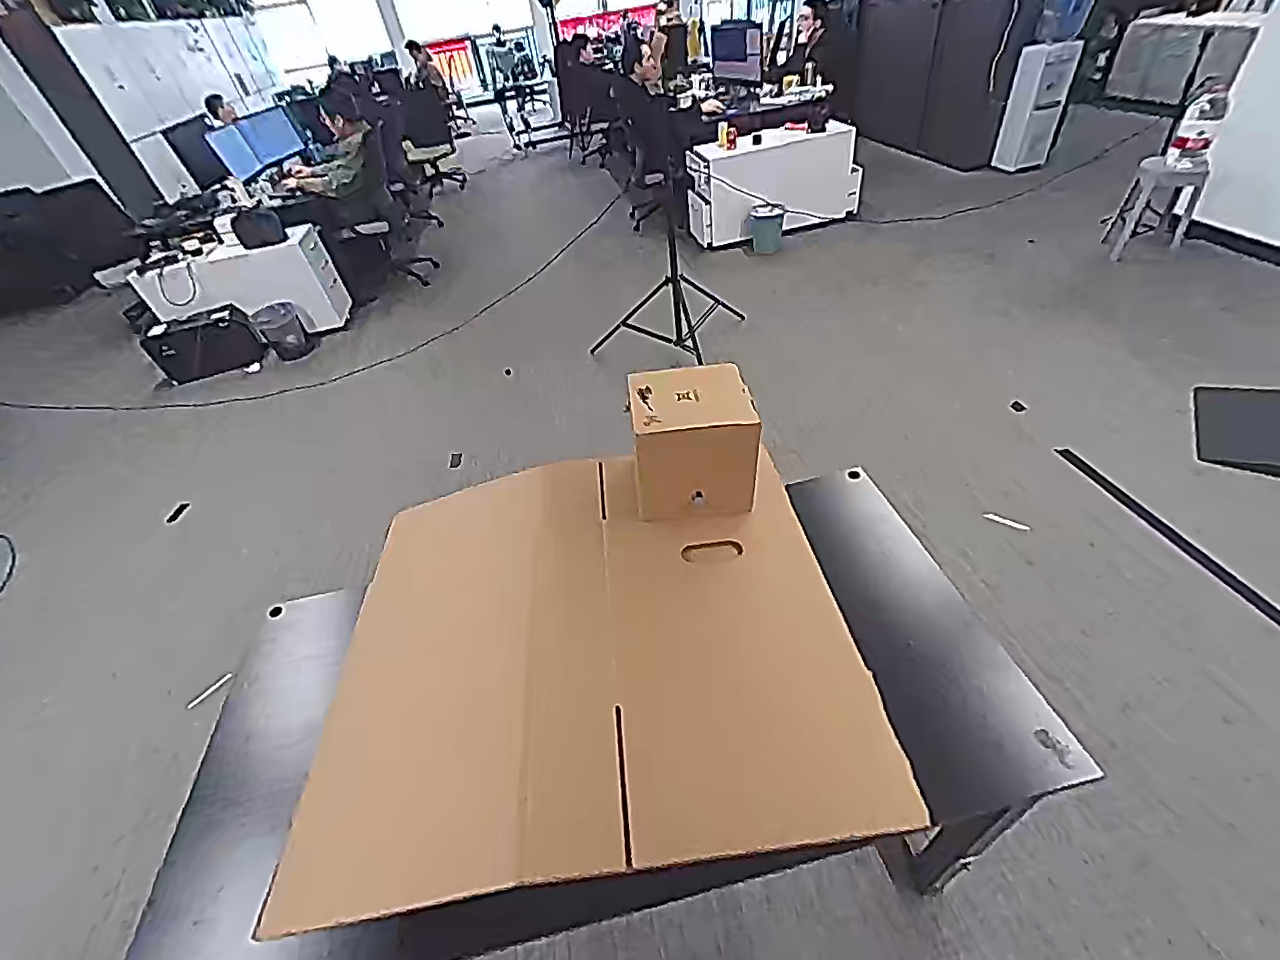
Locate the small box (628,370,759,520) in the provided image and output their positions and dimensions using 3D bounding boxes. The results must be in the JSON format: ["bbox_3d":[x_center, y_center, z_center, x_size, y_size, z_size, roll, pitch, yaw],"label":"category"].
[{"bbox_3d":[0.075,-0.054,0.848,0.179,0.176,0.168,-5,40,-2],"label":"small box"}]
